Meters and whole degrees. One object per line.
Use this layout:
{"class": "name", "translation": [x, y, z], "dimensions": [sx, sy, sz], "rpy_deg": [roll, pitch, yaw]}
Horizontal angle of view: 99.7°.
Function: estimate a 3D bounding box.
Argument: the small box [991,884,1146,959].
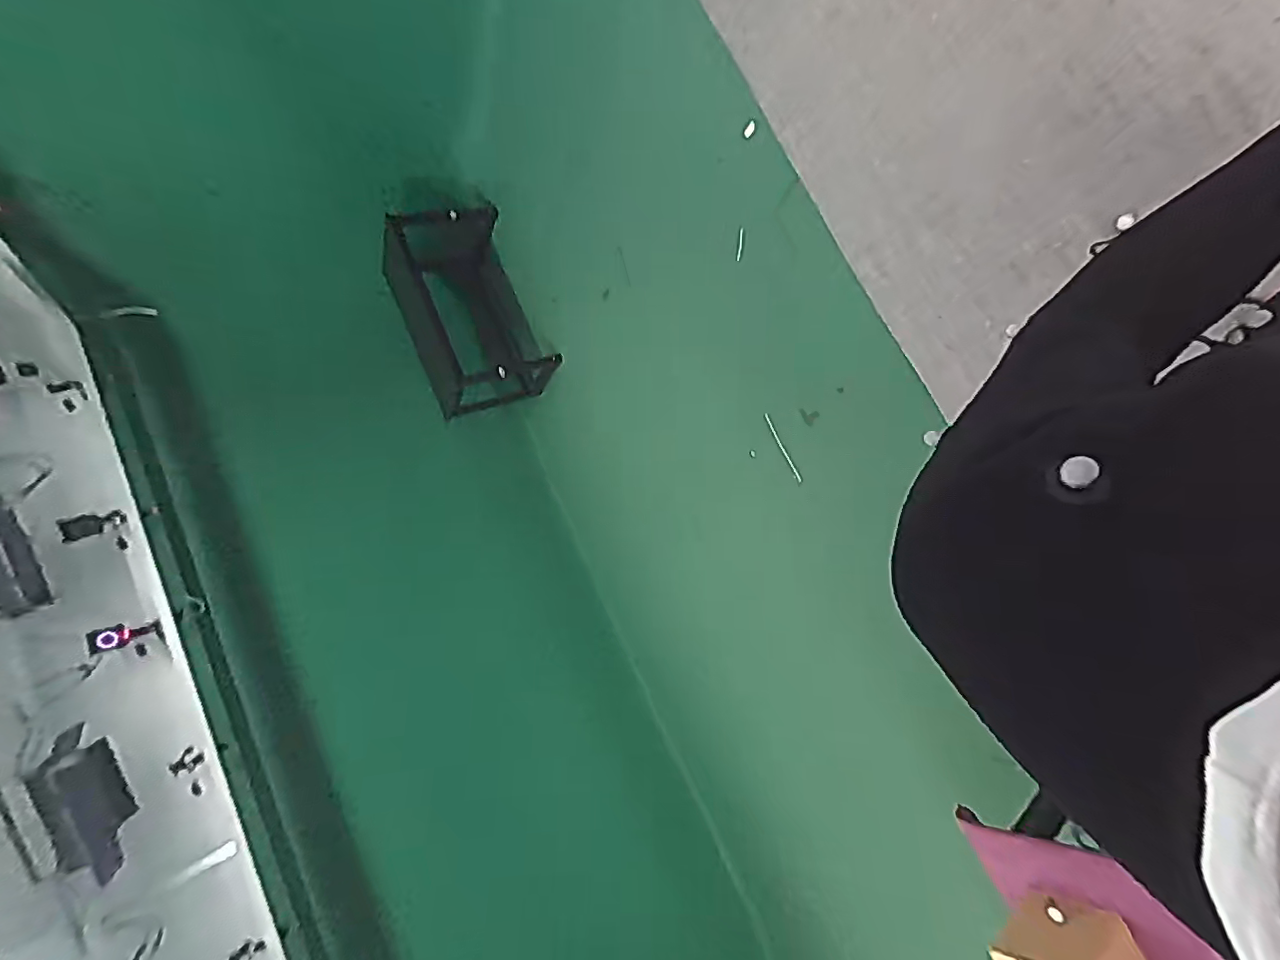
{"class": "small box", "translation": [0.788, 0.887, 0.969], "dimensions": [0.179, 0.176, 0.168], "rpy_deg": [64, 148, 7]}
